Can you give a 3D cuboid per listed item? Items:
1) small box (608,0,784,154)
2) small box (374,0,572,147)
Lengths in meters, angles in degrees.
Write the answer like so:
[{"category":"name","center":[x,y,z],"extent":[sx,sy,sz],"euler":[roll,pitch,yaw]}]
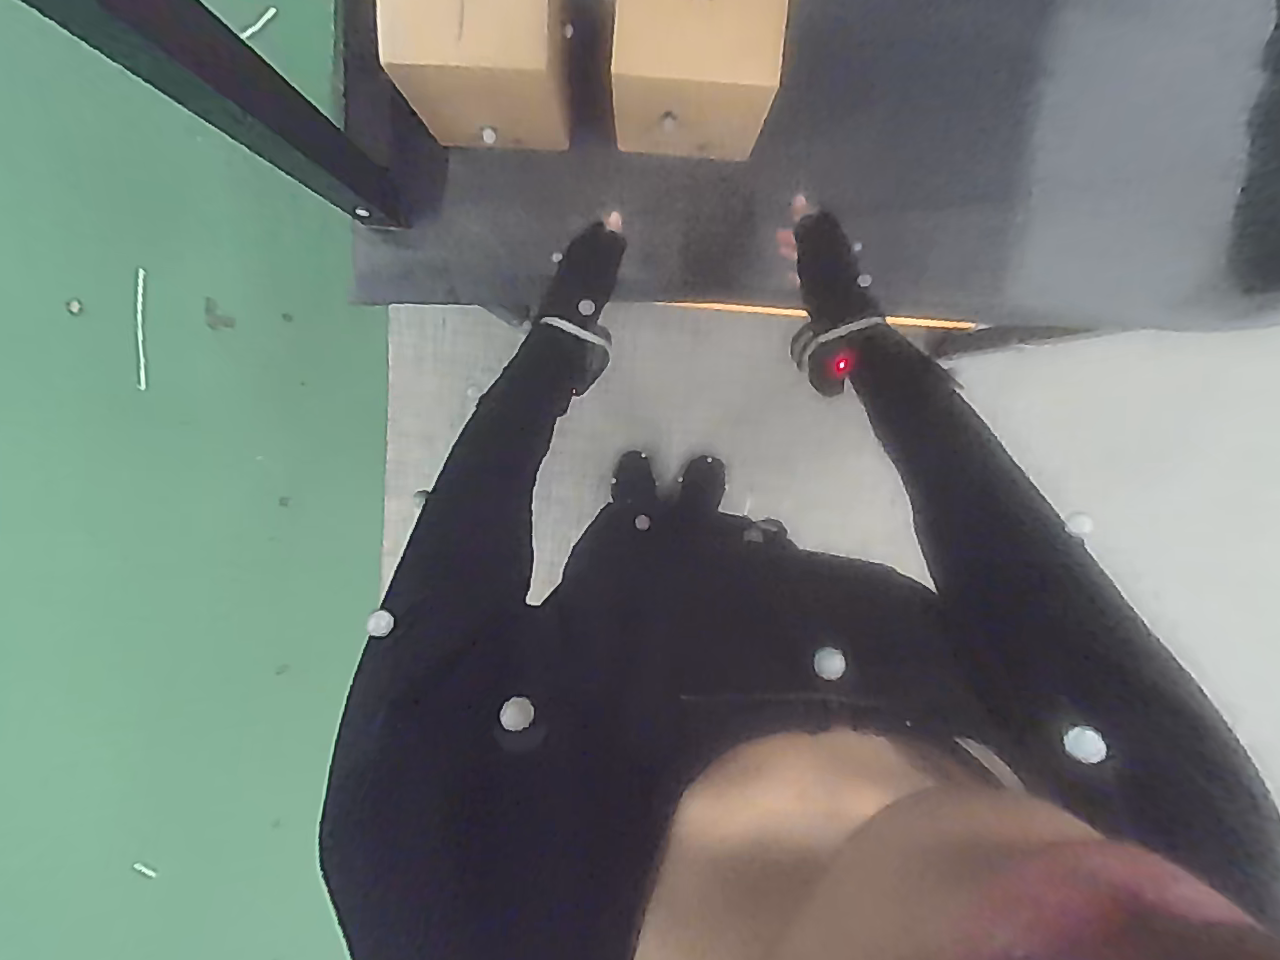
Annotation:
[{"category":"small box","center":[0.059,-0.486,0.588],"extent":[0.168,0.176,0.179],"euler":[5,97,0]},{"category":"small box","center":[-0.168,-0.498,0.585],"extent":[0.168,0.176,0.179],"euler":[2,98,0]}]
